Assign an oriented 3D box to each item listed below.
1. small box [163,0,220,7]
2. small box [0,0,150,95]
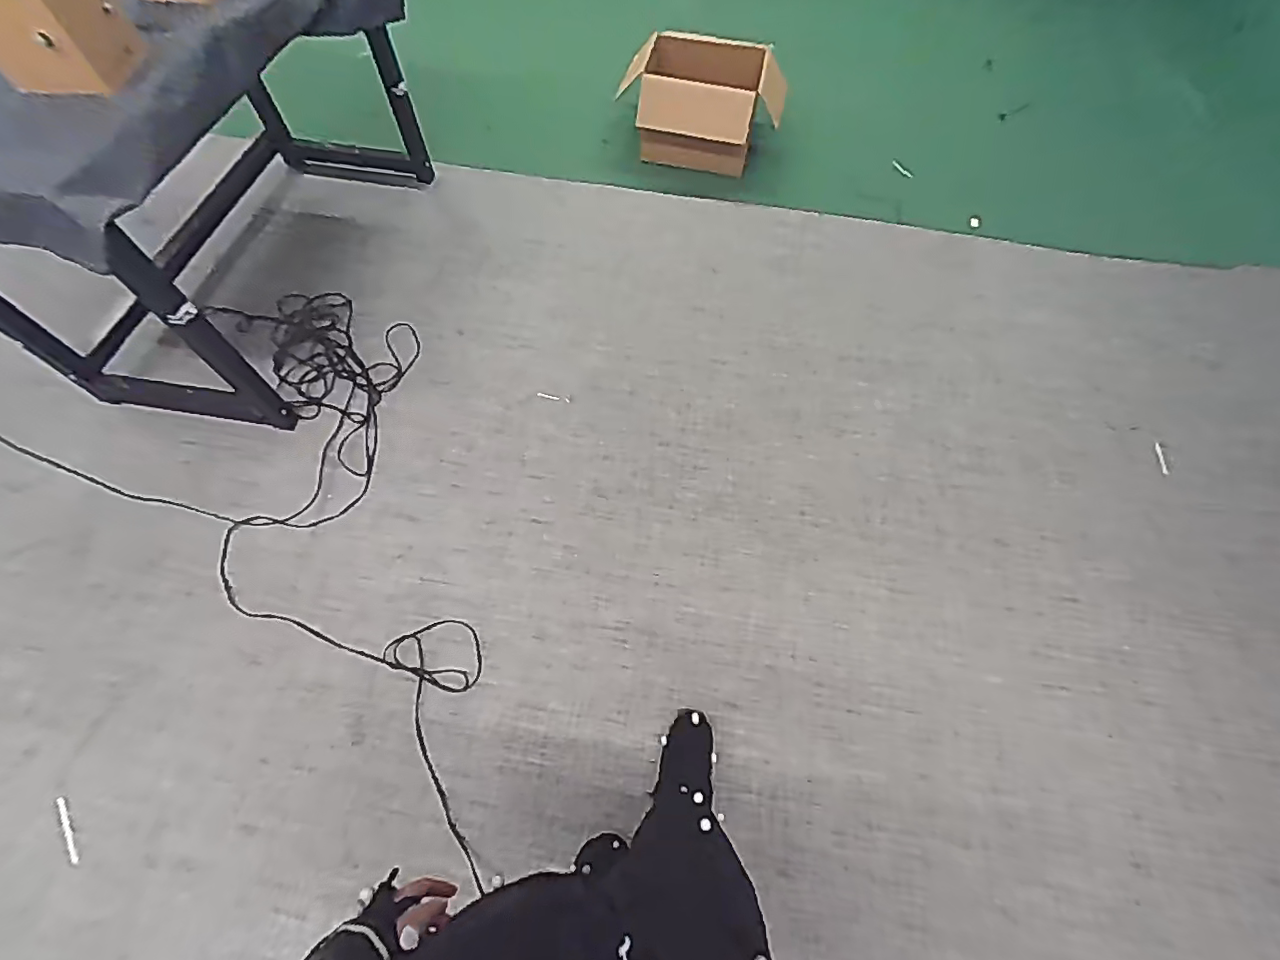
[{"bbox_3d":[-0.979,-1.139,1.131,0.168,0.176,0.179,7,63,2],"label":"small box"},{"bbox_3d":[-1.040,-0.813,0.957,0.179,0.176,0.168,-1,61,-1],"label":"small box"}]
